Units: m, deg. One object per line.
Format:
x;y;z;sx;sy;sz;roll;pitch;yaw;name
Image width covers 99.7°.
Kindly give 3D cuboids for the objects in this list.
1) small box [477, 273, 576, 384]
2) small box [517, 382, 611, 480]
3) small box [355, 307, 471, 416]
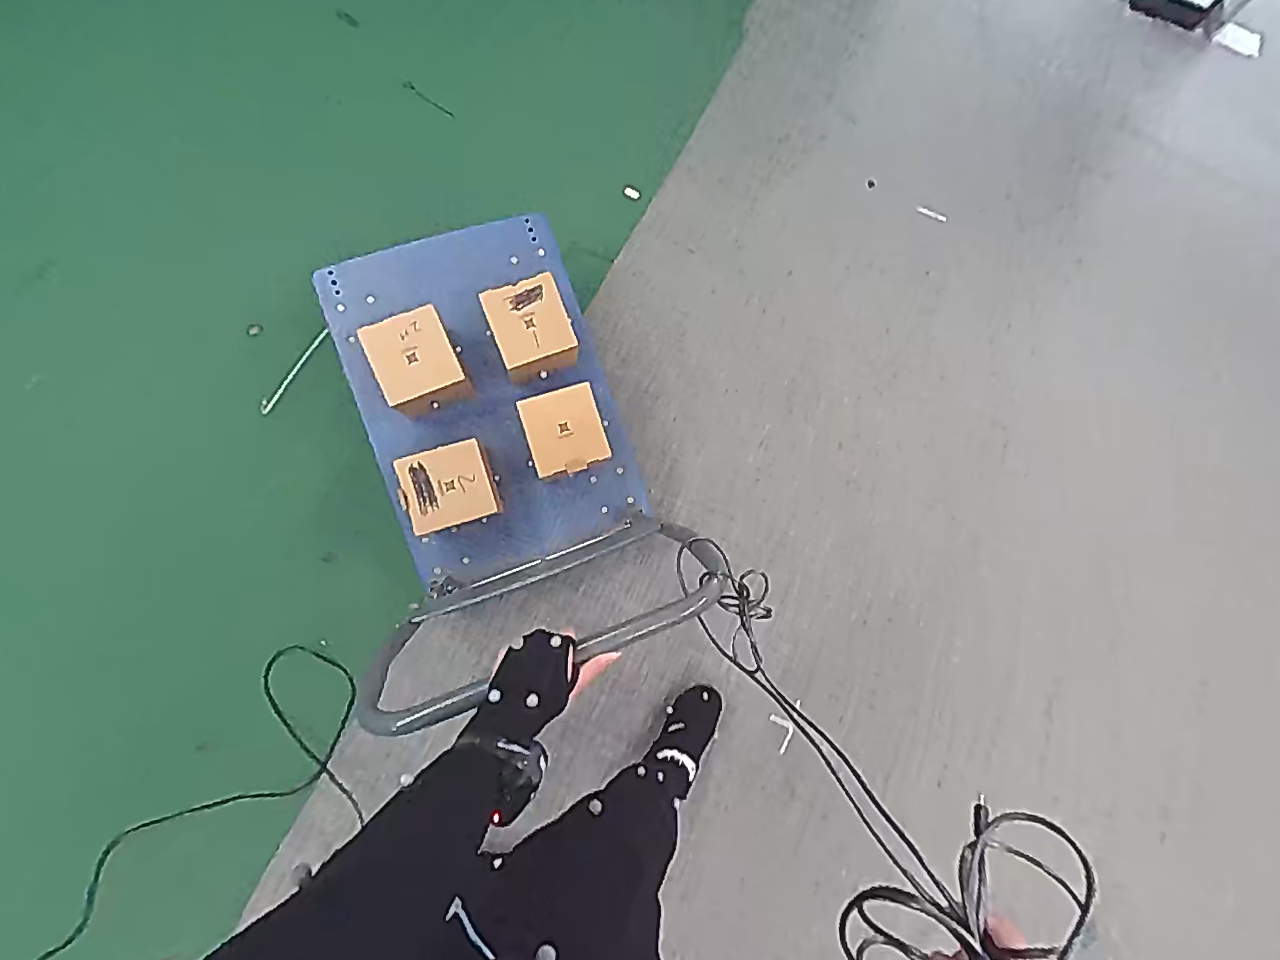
-0.258;-0.342;1.245;0.168;0.176;0.179;-22;92;-8;small box
-0.177;-0.107;1.248;0.168;0.176;0.179;-19;91;-9;small box
-0.493;-0.251;1.205;0.168;0.176;0.179;-24;91;-10;small box
